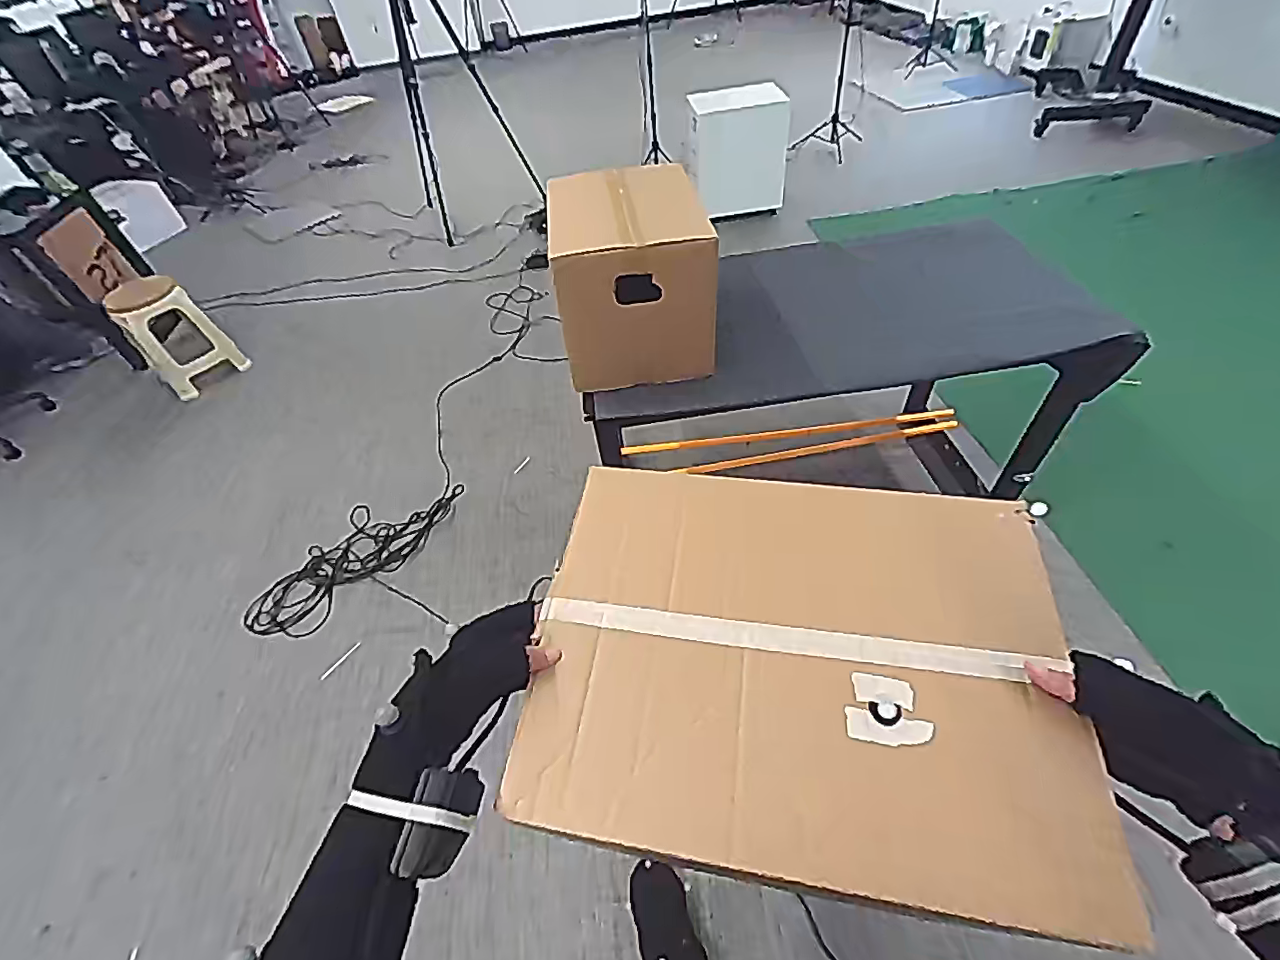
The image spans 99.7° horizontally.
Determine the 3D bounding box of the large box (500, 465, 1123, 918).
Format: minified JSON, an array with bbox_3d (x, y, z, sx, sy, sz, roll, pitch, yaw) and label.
[{"bbox_3d":[0.127,0.209,0.554,0.408,0.320,0.320,5,55,10],"label":"large box"}]
